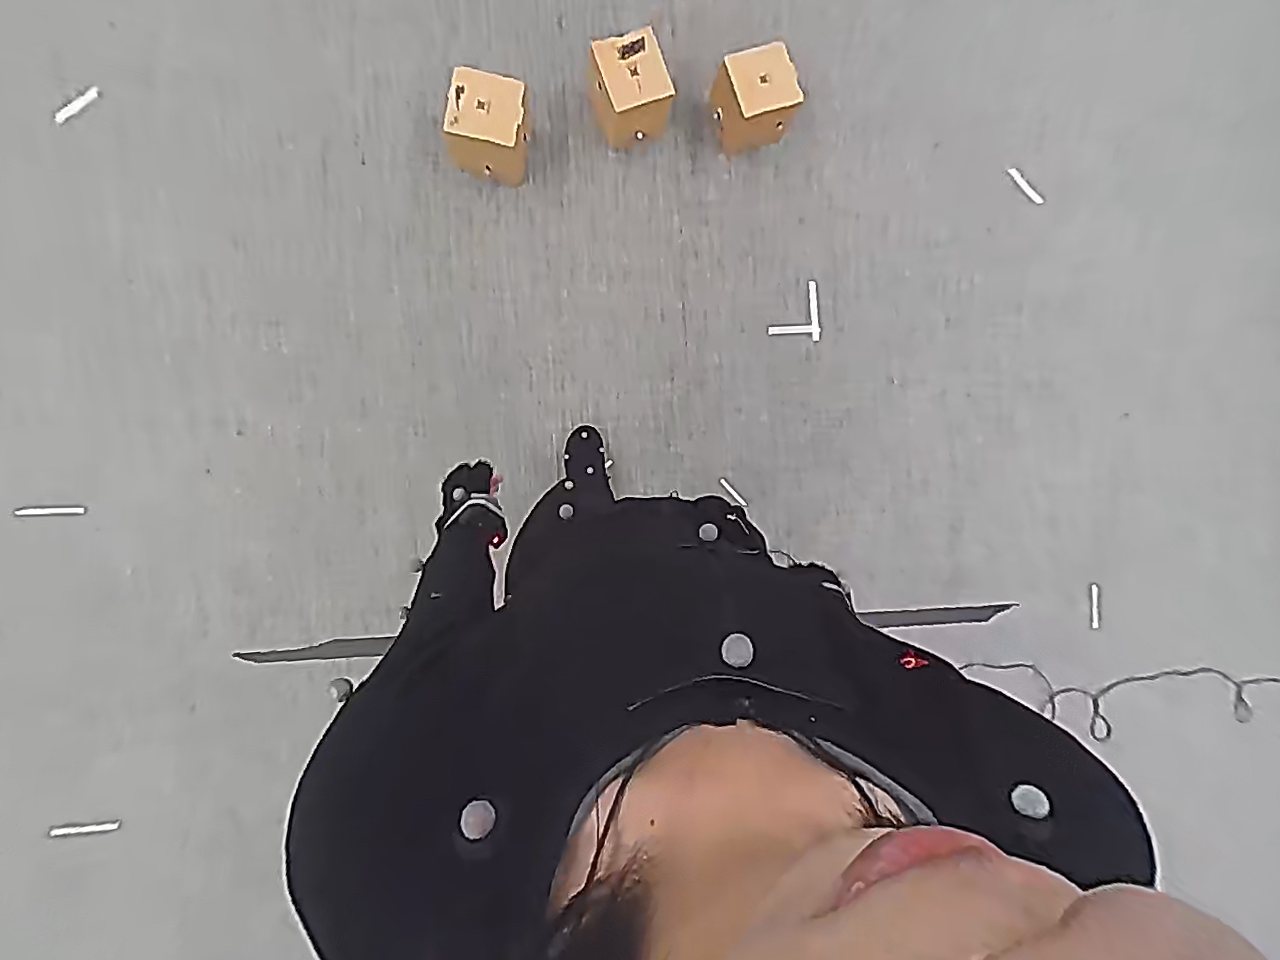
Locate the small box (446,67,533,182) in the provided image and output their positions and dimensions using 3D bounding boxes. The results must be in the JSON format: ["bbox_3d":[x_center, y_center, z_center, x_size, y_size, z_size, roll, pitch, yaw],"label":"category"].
[{"bbox_3d":[-0.379,-0.903,1.393,0.179,0.176,0.168,10,89,-6],"label":"small box"}]

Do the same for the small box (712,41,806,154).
[{"bbox_3d":[0.318,-1.032,1.472,0.179,0.176,0.168,-21,92,-5],"label":"small box"}]

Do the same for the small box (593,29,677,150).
[{"bbox_3d":[-0.020,-1.025,1.431,0.168,0.176,0.179,-21,93,-6],"label":"small box"}]
